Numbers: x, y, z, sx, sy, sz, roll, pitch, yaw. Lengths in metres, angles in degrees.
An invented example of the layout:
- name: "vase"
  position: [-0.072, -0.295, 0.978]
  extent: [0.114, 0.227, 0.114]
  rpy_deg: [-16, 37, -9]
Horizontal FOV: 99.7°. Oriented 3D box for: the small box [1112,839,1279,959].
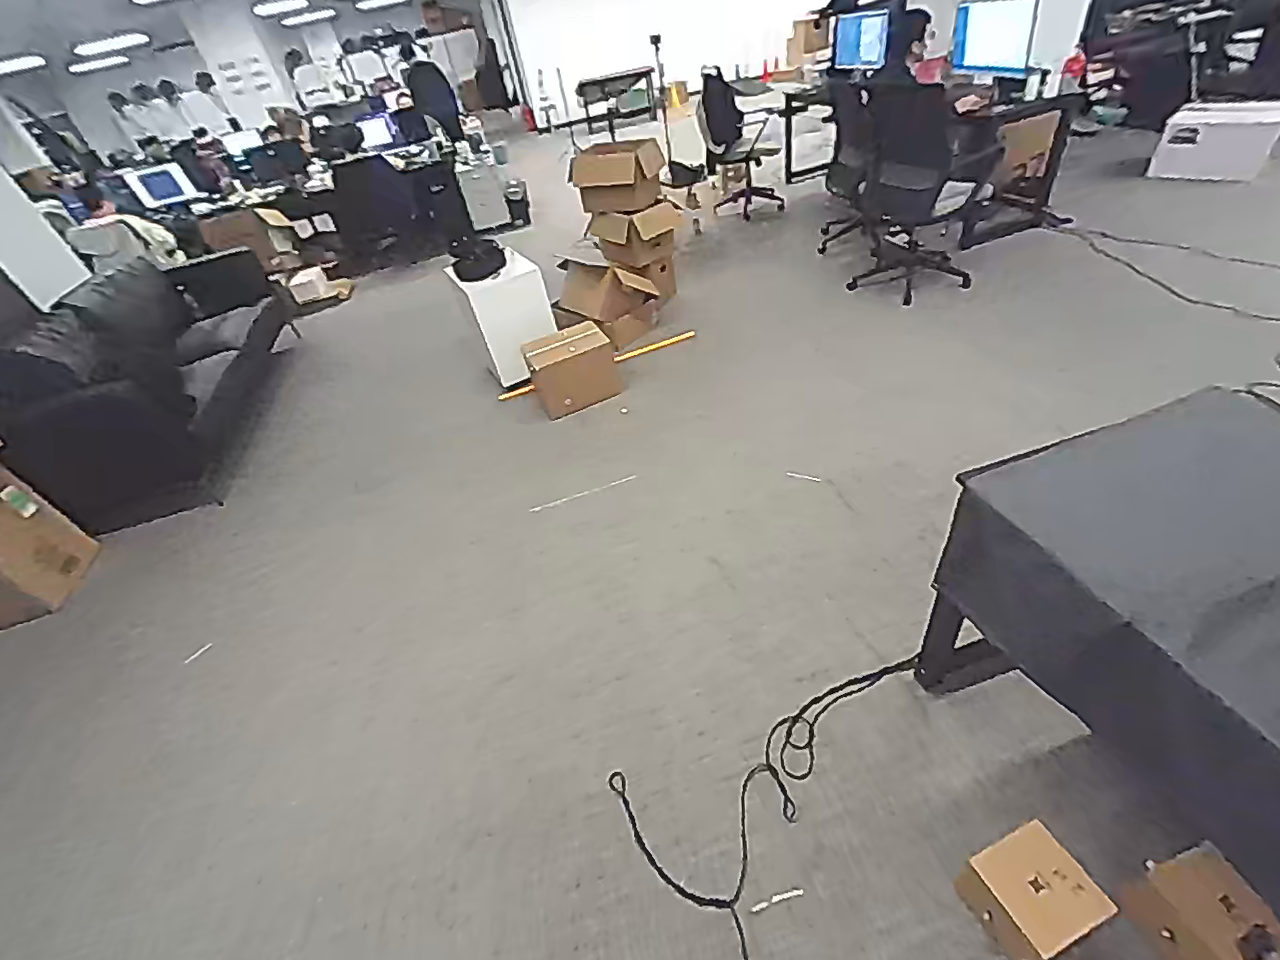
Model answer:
- name: "small box"
  position: [1.043, 0.810, 0.996]
  extent: [0.168, 0.176, 0.179]
  rpy_deg: [-18, 40, -7]
